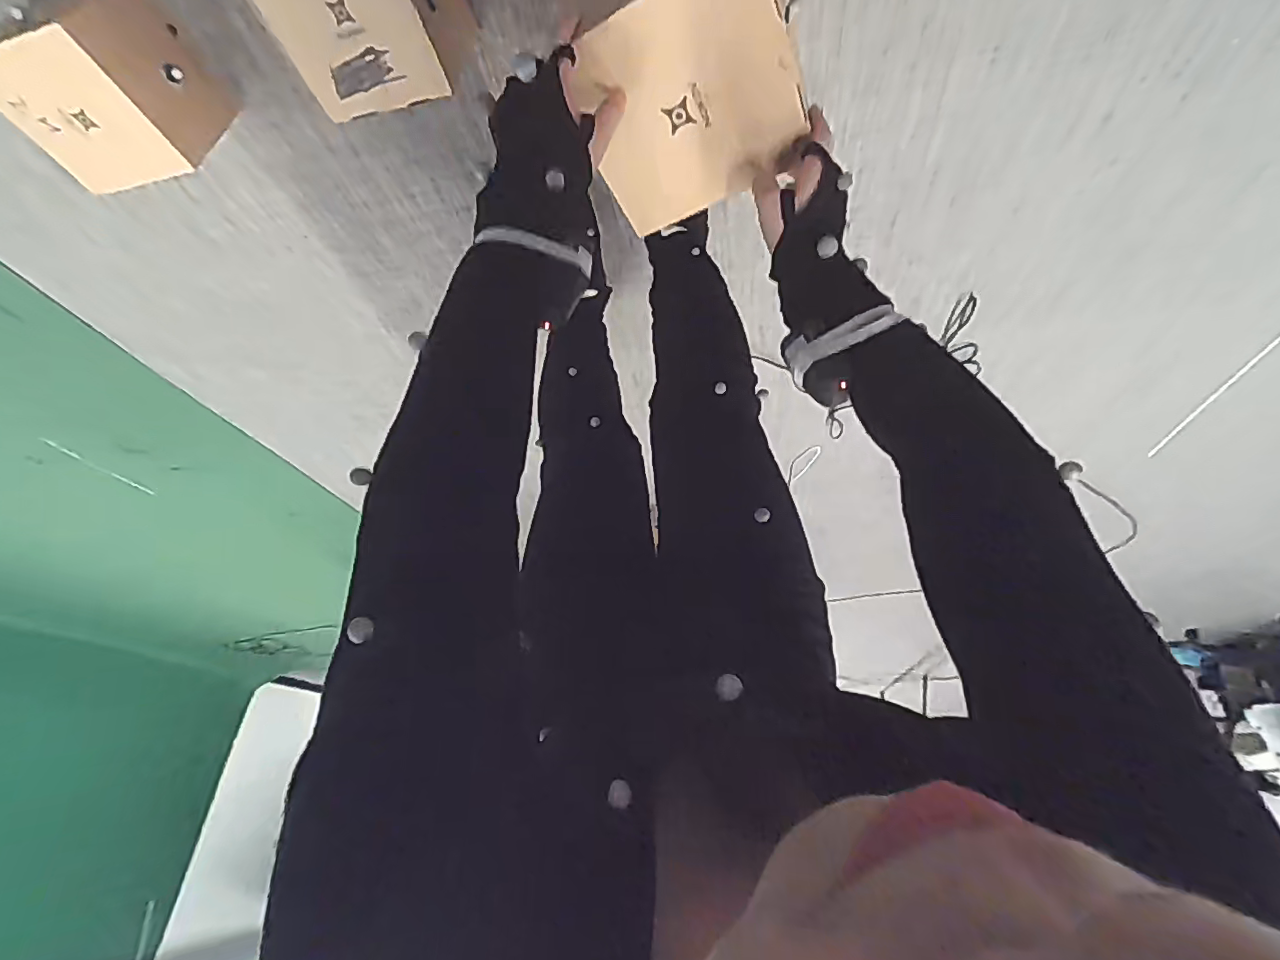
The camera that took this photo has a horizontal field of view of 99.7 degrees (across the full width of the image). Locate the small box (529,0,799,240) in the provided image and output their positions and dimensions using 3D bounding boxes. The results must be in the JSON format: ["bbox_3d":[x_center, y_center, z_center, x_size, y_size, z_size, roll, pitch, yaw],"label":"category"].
[{"bbox_3d":[0.031,-0.361,0.482,0.179,0.176,0.168,-13,145,26],"label":"small box"}]

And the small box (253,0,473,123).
[{"bbox_3d":[-0.314,-0.559,0.622,0.168,0.176,0.179,-4,149,11],"label":"small box"}]

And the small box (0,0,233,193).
[{"bbox_3d":[-0.690,-0.521,0.717,0.179,0.176,0.168,-5,149,12],"label":"small box"}]
